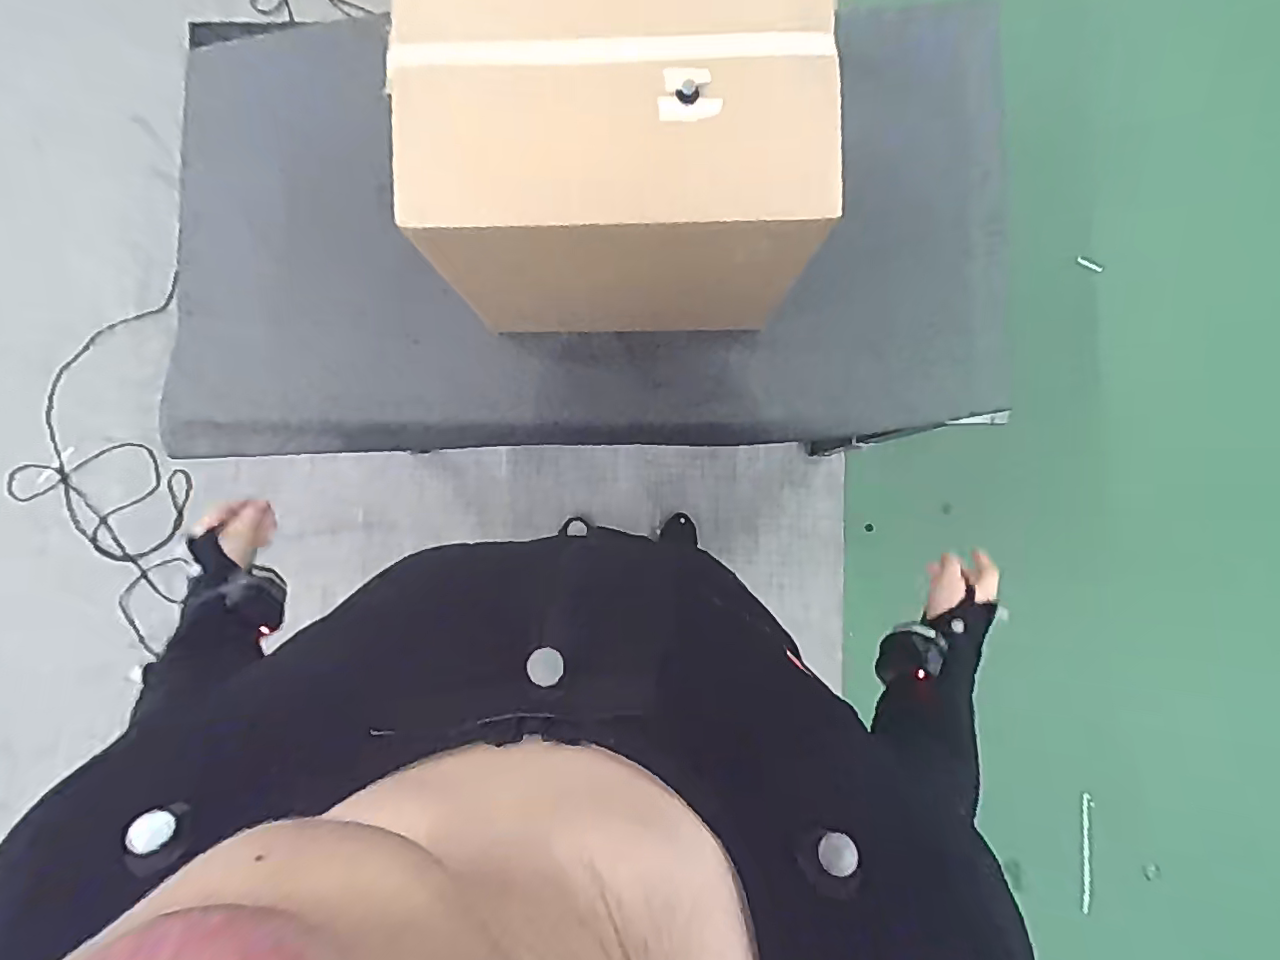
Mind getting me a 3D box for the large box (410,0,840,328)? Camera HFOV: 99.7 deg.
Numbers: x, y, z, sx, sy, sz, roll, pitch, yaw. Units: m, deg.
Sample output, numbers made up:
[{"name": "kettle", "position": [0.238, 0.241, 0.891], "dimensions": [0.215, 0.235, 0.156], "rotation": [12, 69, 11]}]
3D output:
[{"name": "large box", "position": [-0.019, -0.388, 0.654], "dimensions": [0.408, 0.320, 0.320], "rotation": [-1, 88, 0]}]
